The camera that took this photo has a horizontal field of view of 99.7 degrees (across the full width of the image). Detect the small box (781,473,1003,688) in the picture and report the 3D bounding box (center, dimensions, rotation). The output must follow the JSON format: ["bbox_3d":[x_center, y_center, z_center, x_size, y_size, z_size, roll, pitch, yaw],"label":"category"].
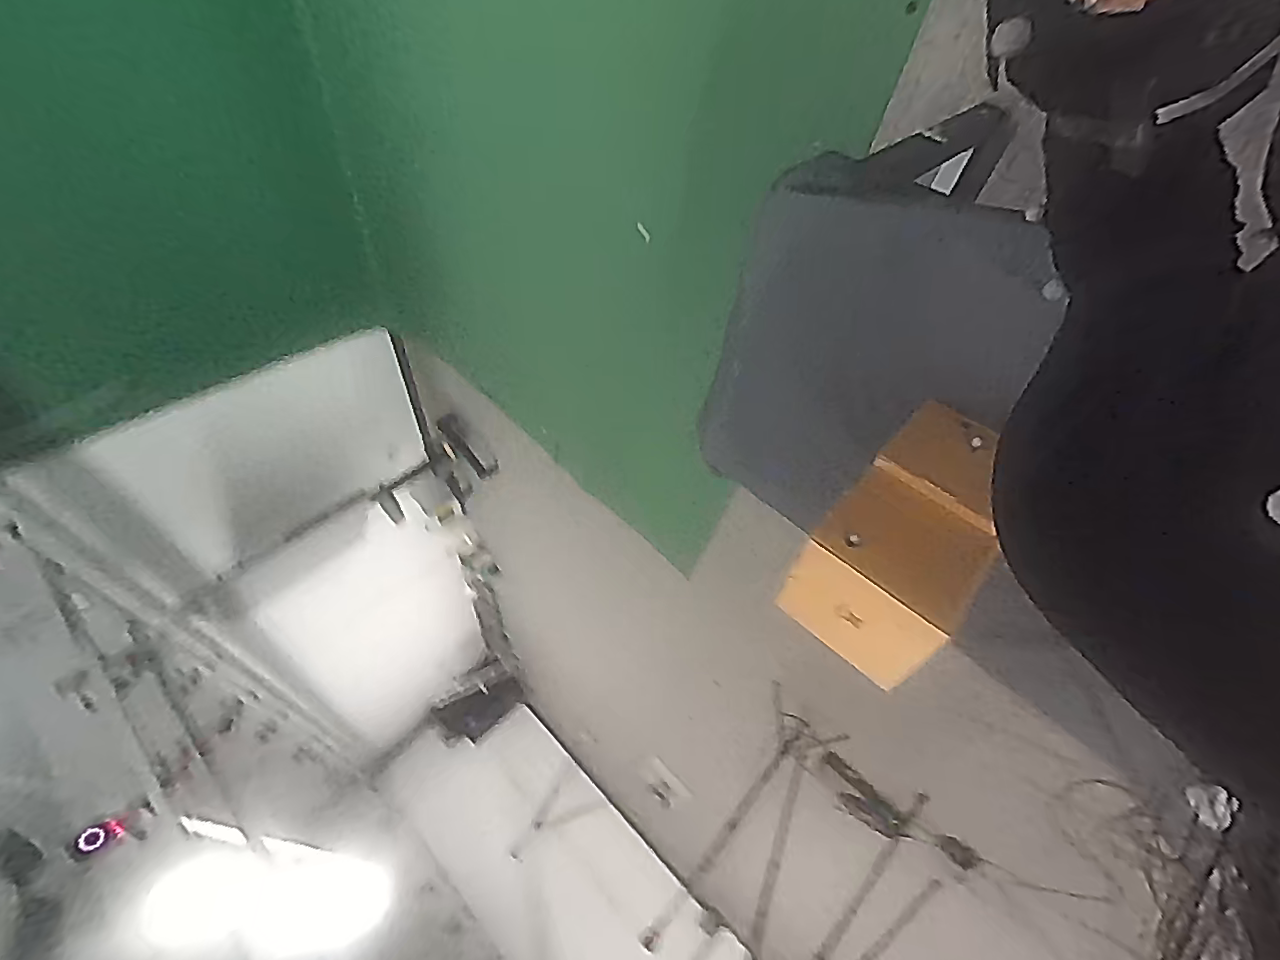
[{"bbox_3d":[0.316,0.121,0.691,0.179,0.176,0.168,37,146,25],"label":"small box"}]

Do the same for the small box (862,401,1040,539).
[{"bbox_3d":[0.421,0.022,0.769,0.168,0.176,0.179,37,146,23],"label":"small box"}]
